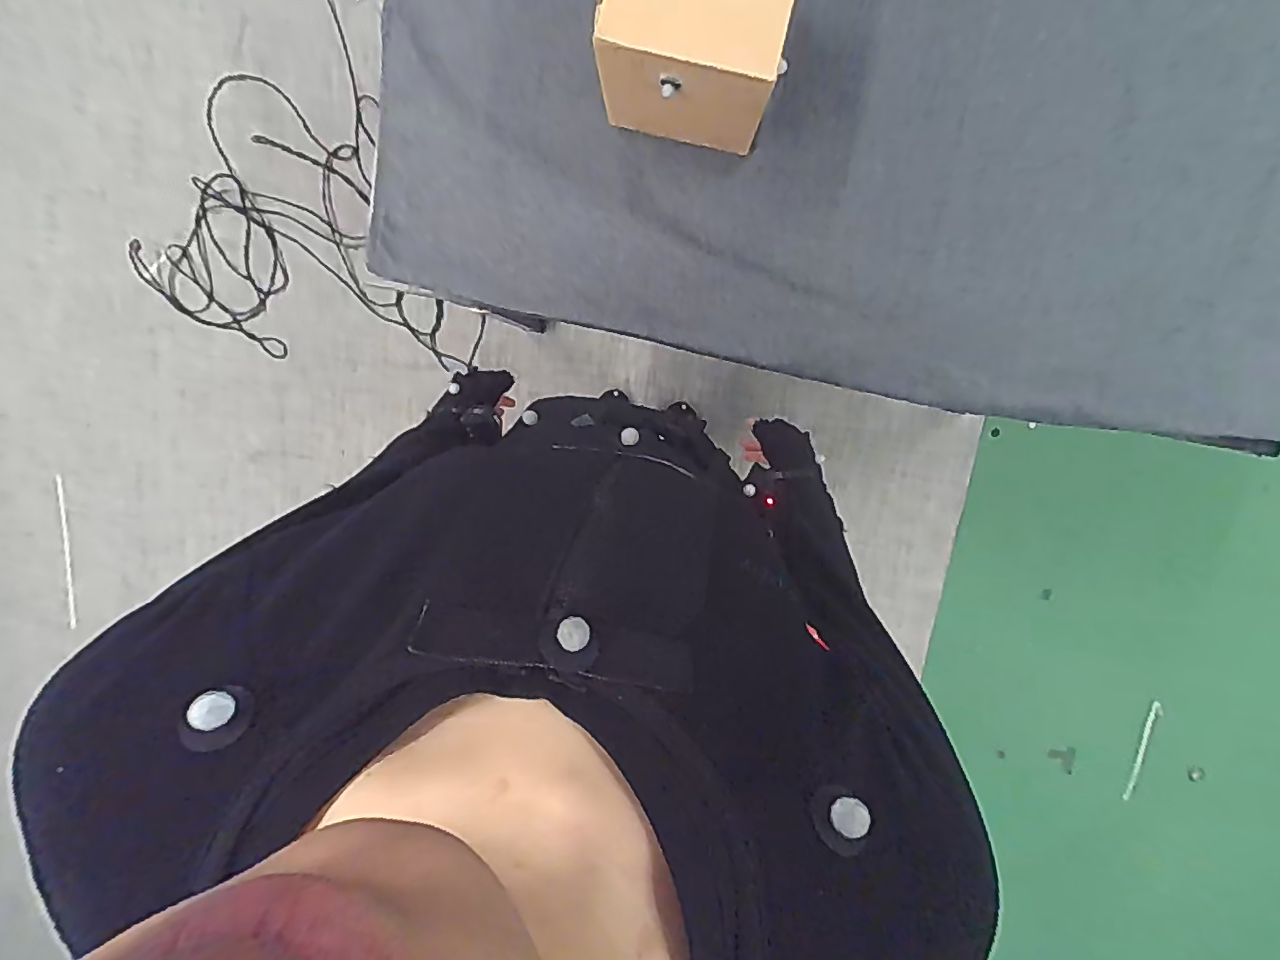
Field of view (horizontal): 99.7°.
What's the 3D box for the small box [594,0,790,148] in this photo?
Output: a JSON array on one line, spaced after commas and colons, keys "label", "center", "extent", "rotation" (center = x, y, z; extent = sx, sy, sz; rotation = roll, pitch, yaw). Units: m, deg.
[{"label": "small box", "center": [0.060, -0.487, 0.574], "extent": [0.179, 0.176, 0.168], "rotation": [12, 100, -1]}]
